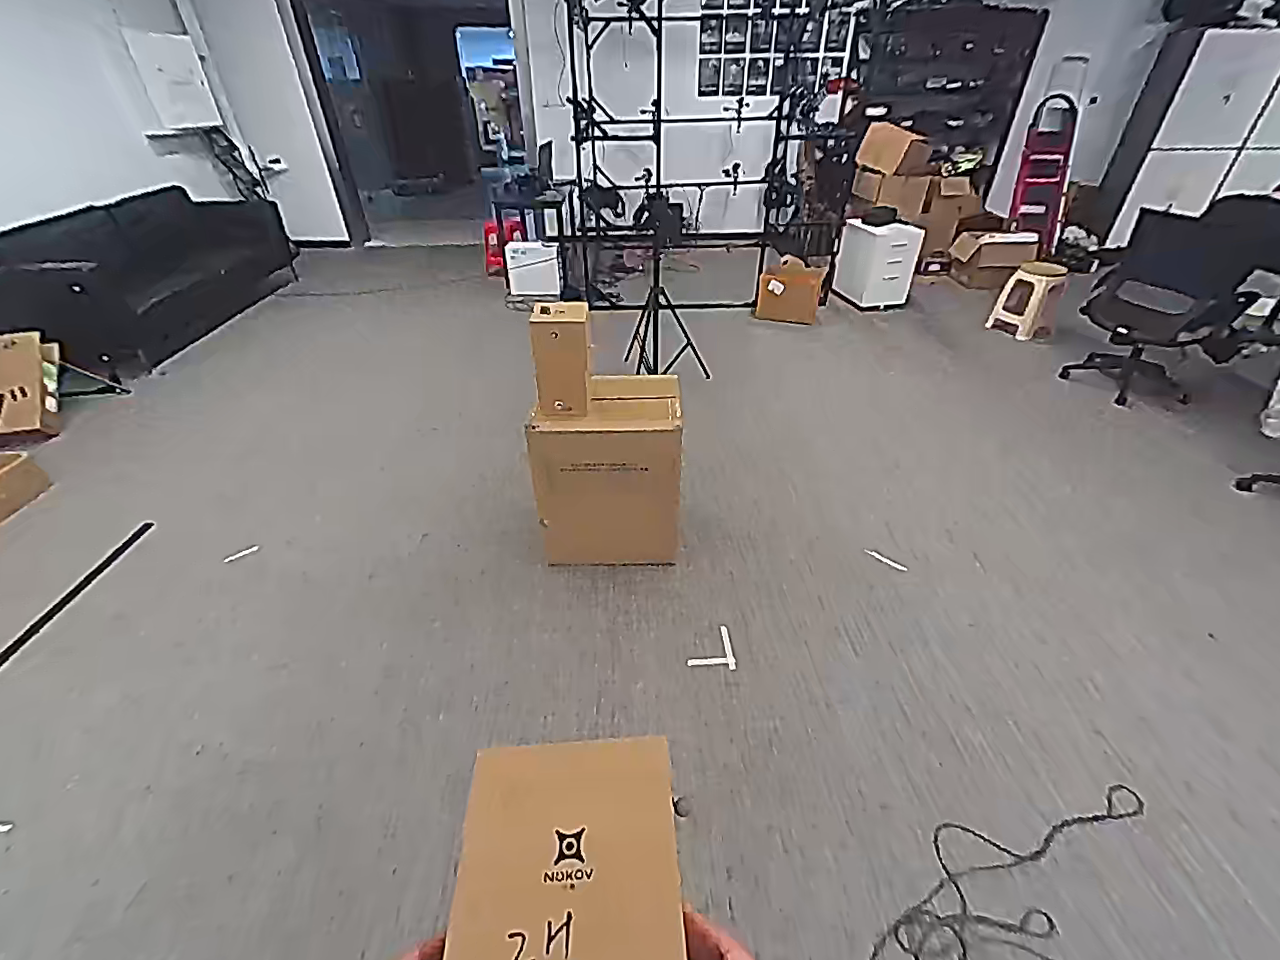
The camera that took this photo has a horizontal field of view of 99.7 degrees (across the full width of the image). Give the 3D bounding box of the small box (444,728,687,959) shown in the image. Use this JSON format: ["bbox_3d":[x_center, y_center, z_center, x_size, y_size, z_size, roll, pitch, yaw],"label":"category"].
[{"bbox_3d":[-0.050,0.340,0.463,0.168,0.176,0.179,-4,41,0],"label":"small box"}]

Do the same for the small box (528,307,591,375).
[{"bbox_3d":[-0.258,-0.454,1.769,0.179,0.176,0.168,-1,38,-1],"label":"small box"}]

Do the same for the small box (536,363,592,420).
[{"bbox_3d":[-0.258,-0.324,1.871,0.168,0.176,0.179,-1,39,0],"label":"small box"}]
